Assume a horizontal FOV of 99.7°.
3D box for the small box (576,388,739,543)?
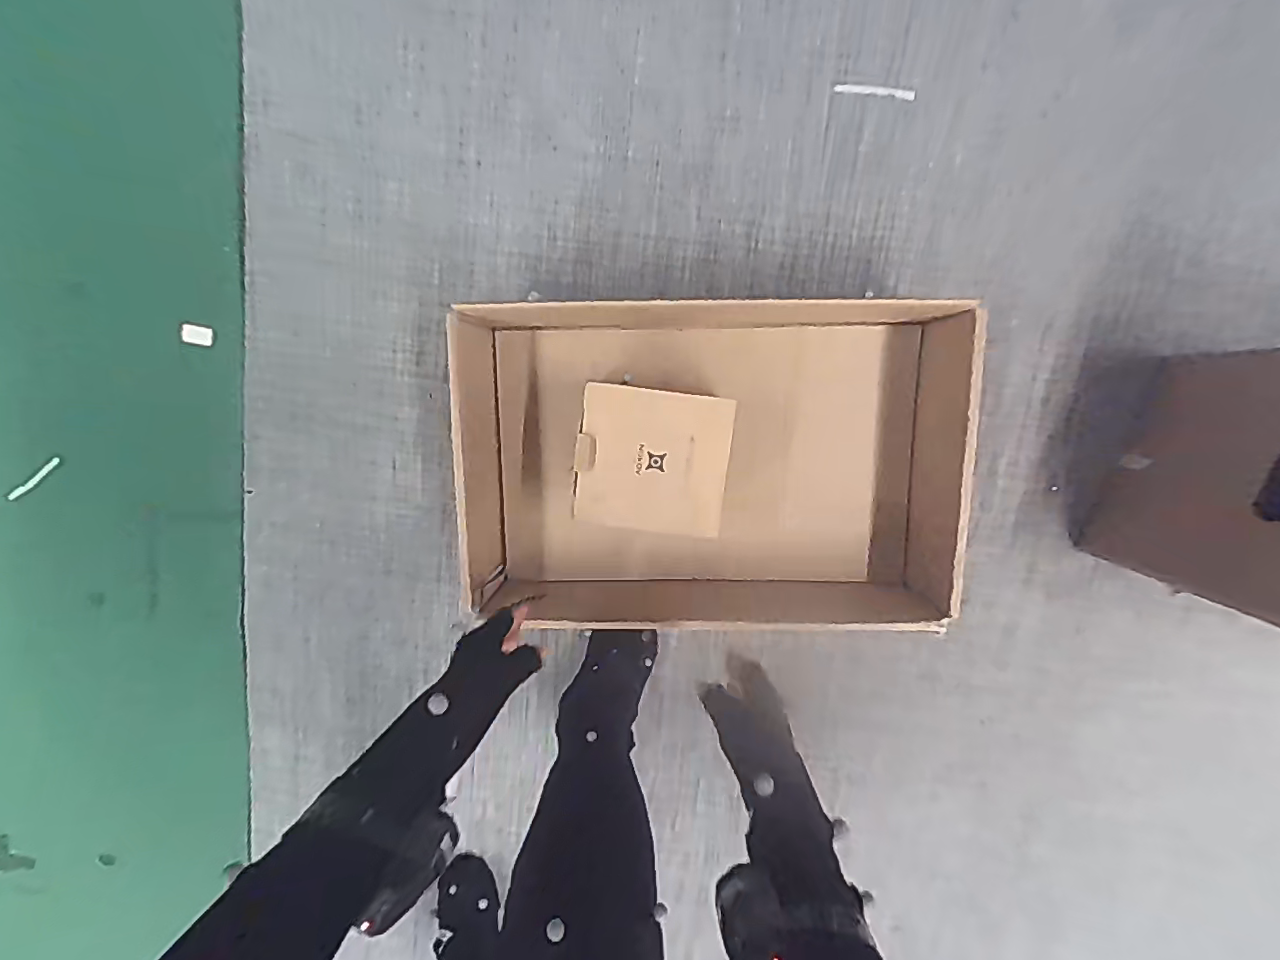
[{"bbox_3d":[0.020,-0.027,0.707,0.179,0.176,0.168,6,100,-1],"label":"small box"}]
